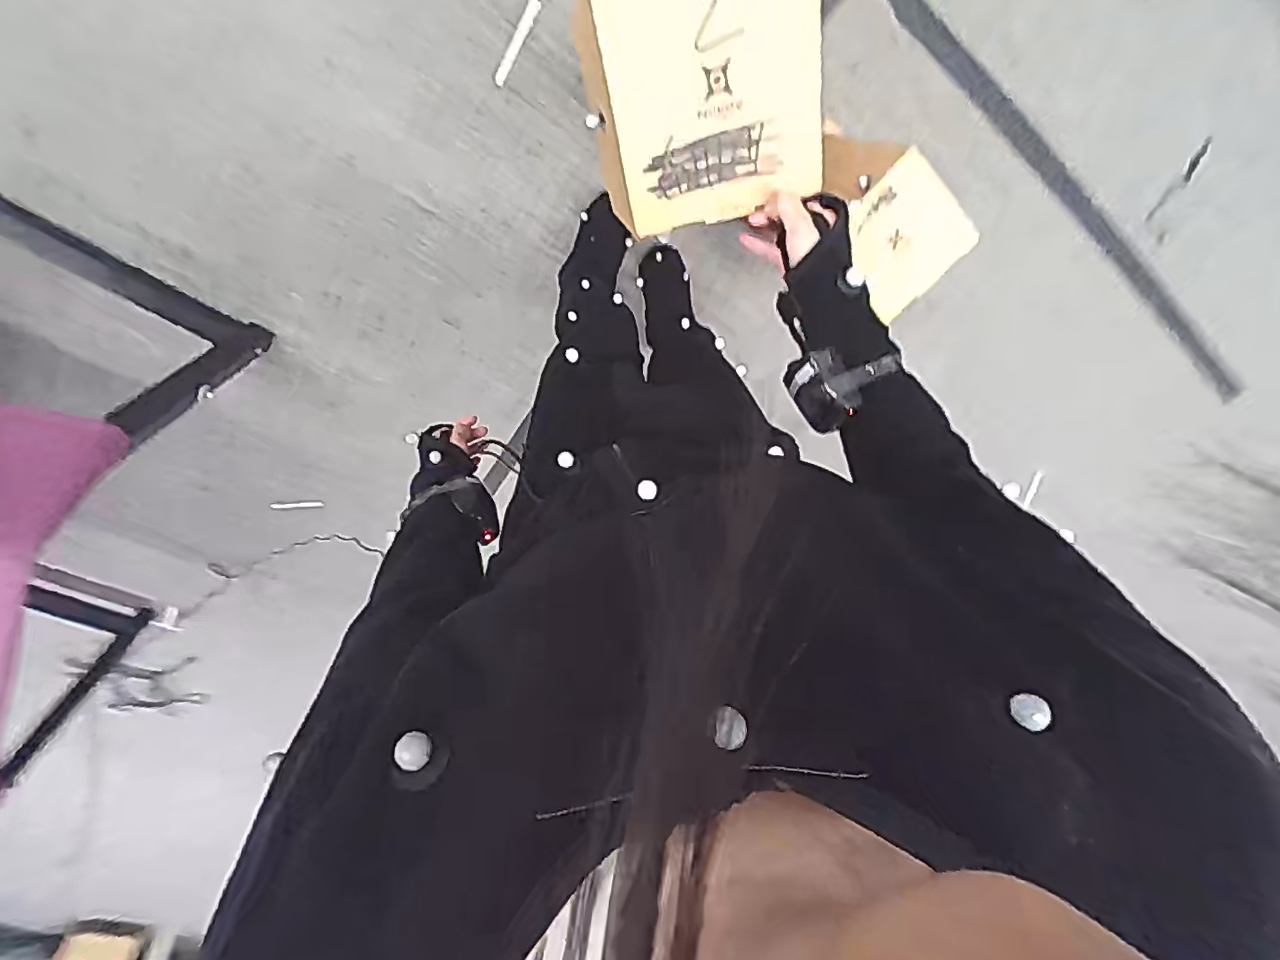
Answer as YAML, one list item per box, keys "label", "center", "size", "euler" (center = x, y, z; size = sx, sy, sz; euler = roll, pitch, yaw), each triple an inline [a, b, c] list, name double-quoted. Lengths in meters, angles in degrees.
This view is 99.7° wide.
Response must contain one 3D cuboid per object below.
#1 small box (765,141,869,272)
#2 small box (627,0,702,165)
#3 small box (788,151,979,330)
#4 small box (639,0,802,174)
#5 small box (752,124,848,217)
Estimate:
- label: "small box"
  center: [0.350, -0.467, 0.957]
  size: [0.179, 0.176, 0.168]
  euler: [30, 118, -24]
- label: "small box"
  center: [0.091, -0.703, 0.971]
  size: [0.179, 0.176, 0.168]
  euler: [35, 115, -25]
- label: "small box"
  center: [0.360, -0.370, 0.825]
  size: [0.179, 0.176, 0.168]
  euler: [33, 116, -26]
- label: "small box"
  center: [0.111, -0.614, 0.837]
  size: [0.168, 0.176, 0.179]
  euler: [32, 115, -26]
- label: "small box"
  center: [0.344, -0.575, 1.082]
  size: [0.168, 0.176, 0.179]
  euler: [28, 117, -23]
